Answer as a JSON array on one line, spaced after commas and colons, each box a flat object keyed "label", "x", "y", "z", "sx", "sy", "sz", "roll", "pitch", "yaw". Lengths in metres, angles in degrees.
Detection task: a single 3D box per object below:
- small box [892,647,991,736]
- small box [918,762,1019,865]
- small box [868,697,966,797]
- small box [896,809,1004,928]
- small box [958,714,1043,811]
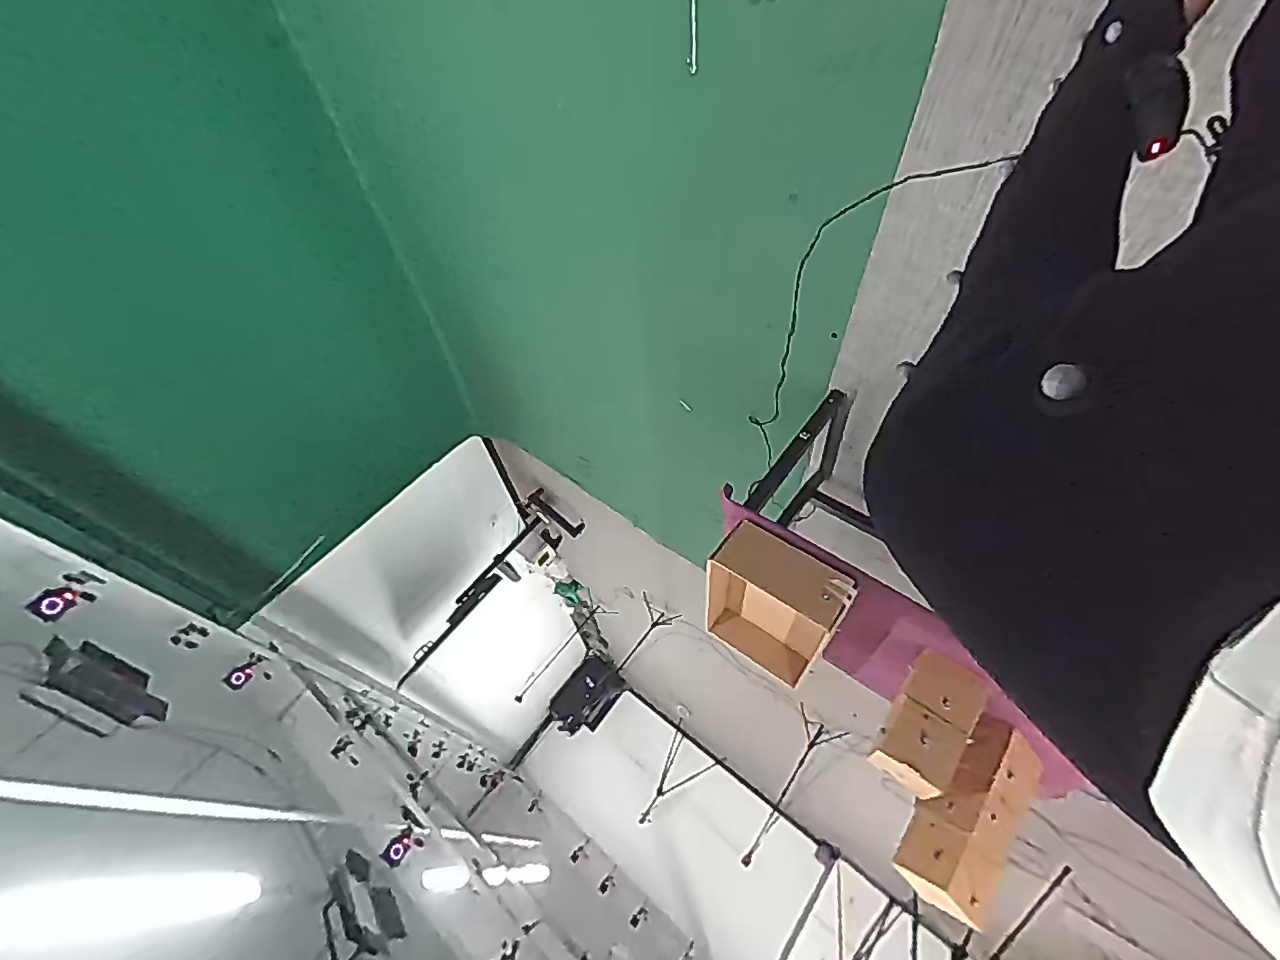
[{"label": "small box", "x": 0.852, "y": 0.606, "z": 1.528, "sx": 0.179, "sy": 0.176, "sz": 0.168, "roll": 30, "pitch": 153, "yaw": 27}, {"label": "small box", "x": 0.935, "y": 0.925, "z": 1.528, "sx": 0.168, "sy": 0.176, "sz": 0.179, "roll": 50, "pitch": 155, "yaw": -13}, {"label": "small box", "x": 0.752, "y": 0.720, "z": 1.465, "sx": 0.168, "sy": 0.176, "sz": 0.179, "roll": 30, "pitch": 153, "yaw": 26}, {"label": "small box", "x": 0.839, "y": 1.035, "z": 1.460, "sx": 0.179, "sy": 0.176, "sz": 0.168, "roll": 49, "pitch": 154, "yaw": -12}, {"label": "small box", "x": 1.040, "y": 0.816, "z": 1.590, "sx": 0.179, "sy": 0.176, "sz": 0.168, "roll": 49, "pitch": 155, "yaw": -13}]
